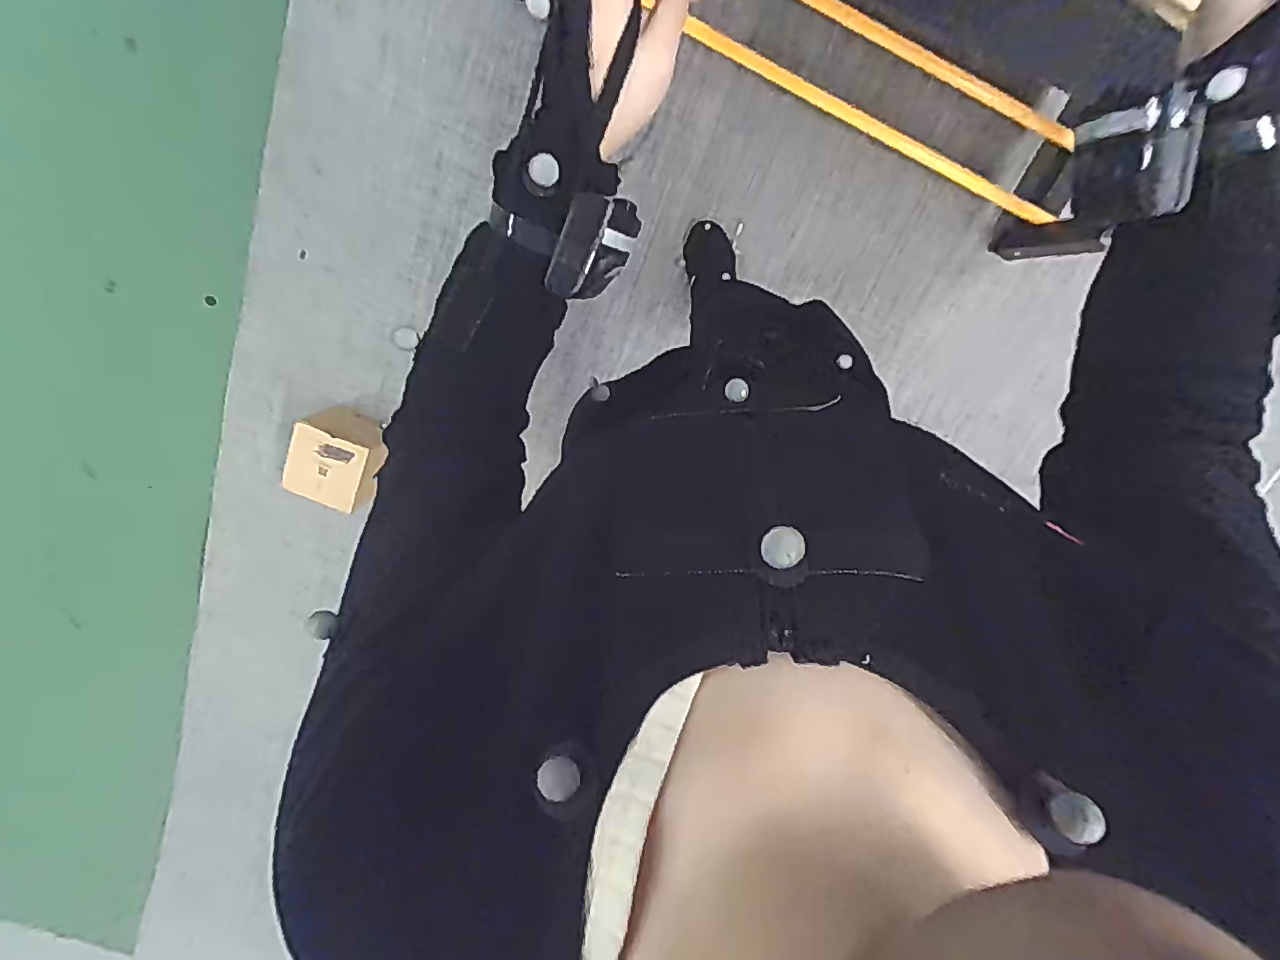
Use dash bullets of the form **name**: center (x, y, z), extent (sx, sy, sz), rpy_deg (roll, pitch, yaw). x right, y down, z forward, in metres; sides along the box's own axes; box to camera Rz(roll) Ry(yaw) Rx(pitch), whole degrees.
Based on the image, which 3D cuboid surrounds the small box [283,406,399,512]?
- **small box**: center (-0.699, -0.057, 1.281), extent (0.168, 0.176, 0.179), rpy_deg (24, 109, -8)
